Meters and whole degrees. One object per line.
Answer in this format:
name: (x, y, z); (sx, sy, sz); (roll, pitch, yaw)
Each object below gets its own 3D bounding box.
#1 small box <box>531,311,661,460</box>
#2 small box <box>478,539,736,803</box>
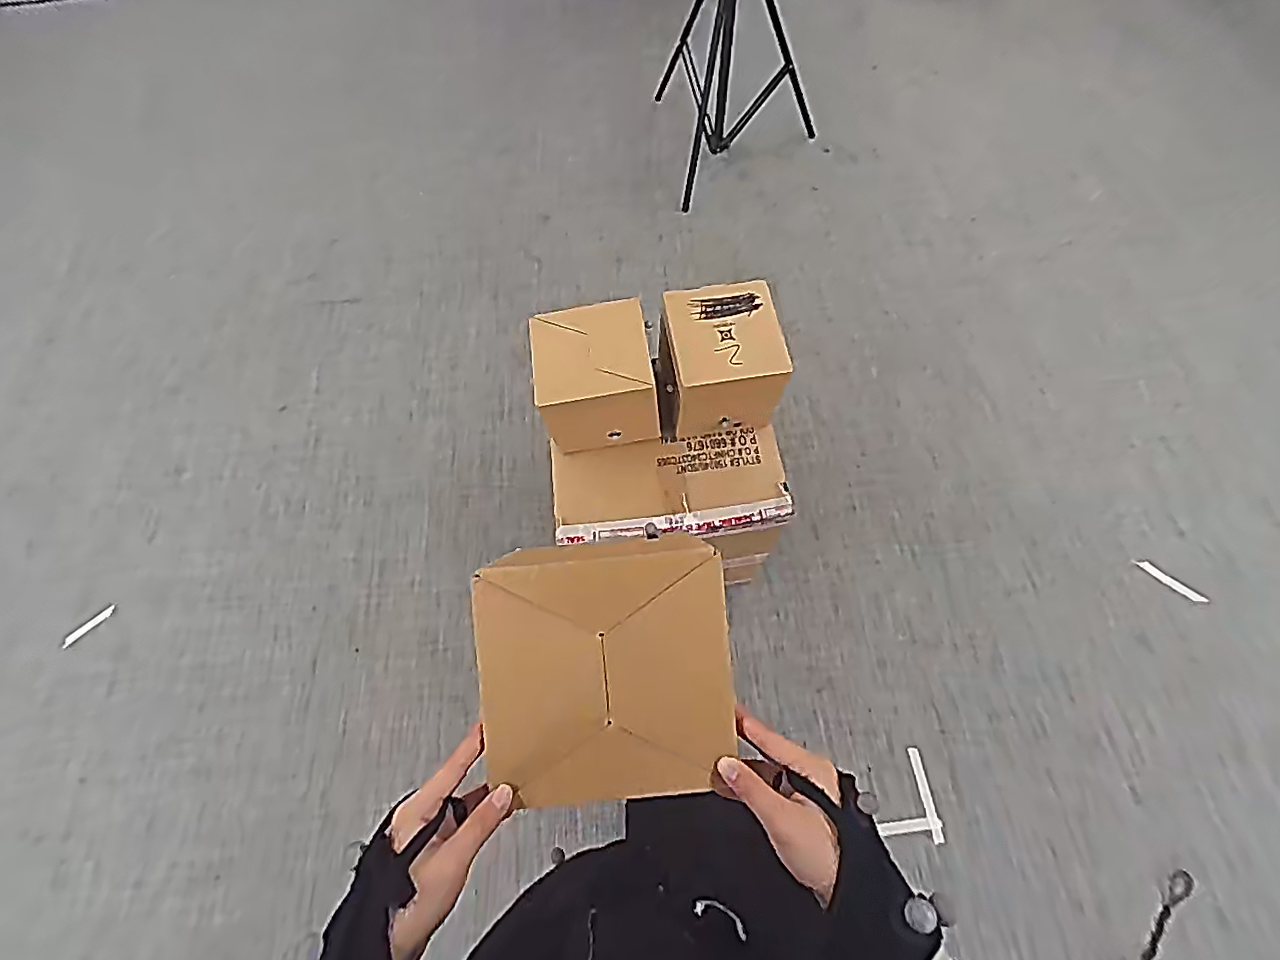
small box: (-0.067, -0.153, 0.884); (0.179, 0.176, 0.168); (-9, 67, 1)
small box: (-0.027, 0.144, 0.459); (0.179, 0.176, 0.168); (-5, 88, -1)
